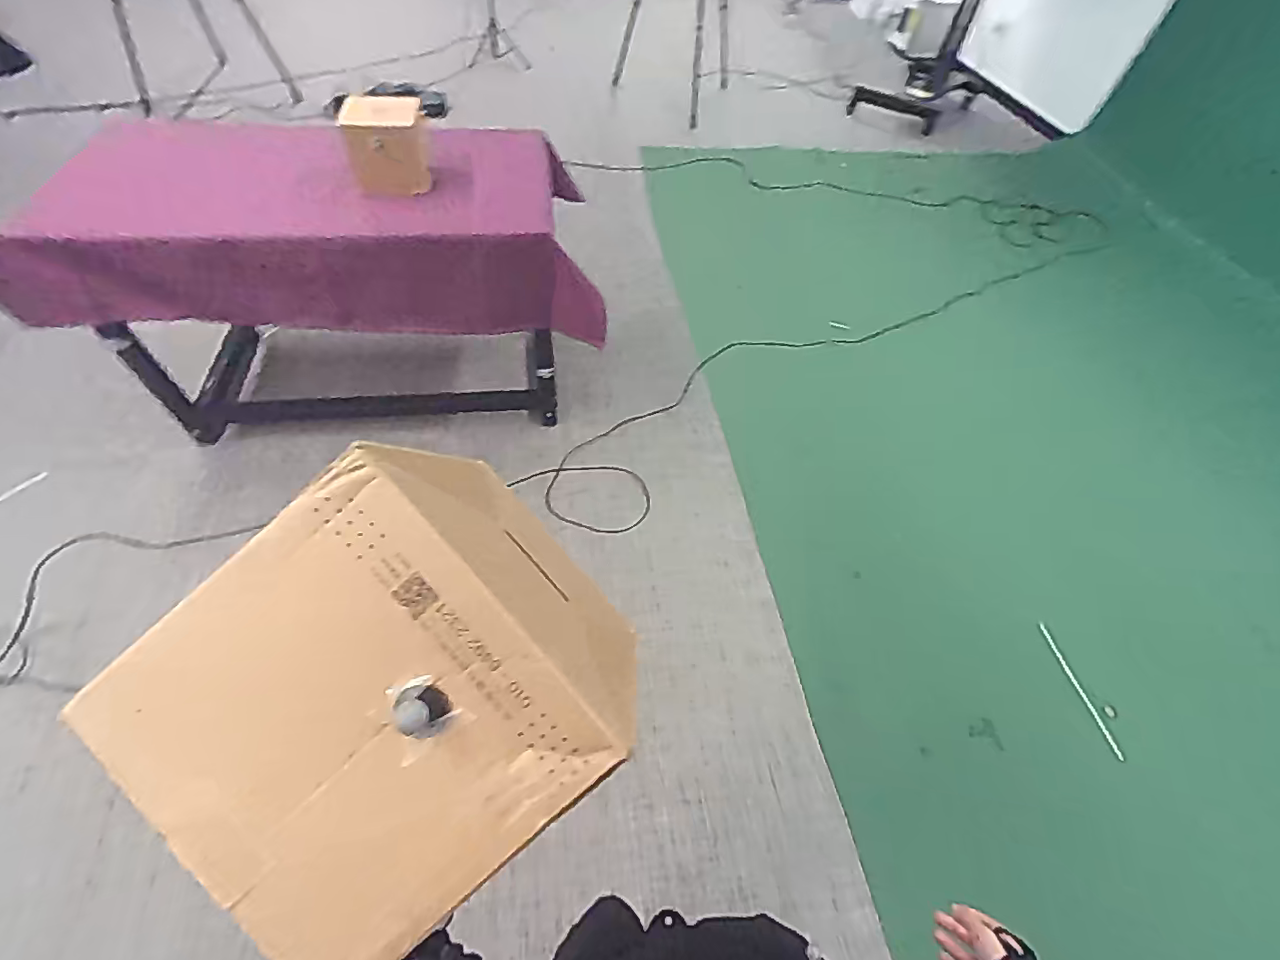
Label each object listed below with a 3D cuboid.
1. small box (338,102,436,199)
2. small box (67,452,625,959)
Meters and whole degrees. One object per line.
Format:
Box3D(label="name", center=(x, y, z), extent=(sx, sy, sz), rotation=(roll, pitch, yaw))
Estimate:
Box3D(label="small box", center=(-0.643, -0.847, 1.395), extent=(0.179, 0.176, 0.168), rotation=(-4, 55, -8))
Box3D(label="small box", center=(-0.121, 0.101, 0.304), extent=(0.176, 0.179, 0.168), rotation=(-43, 88, -1))
